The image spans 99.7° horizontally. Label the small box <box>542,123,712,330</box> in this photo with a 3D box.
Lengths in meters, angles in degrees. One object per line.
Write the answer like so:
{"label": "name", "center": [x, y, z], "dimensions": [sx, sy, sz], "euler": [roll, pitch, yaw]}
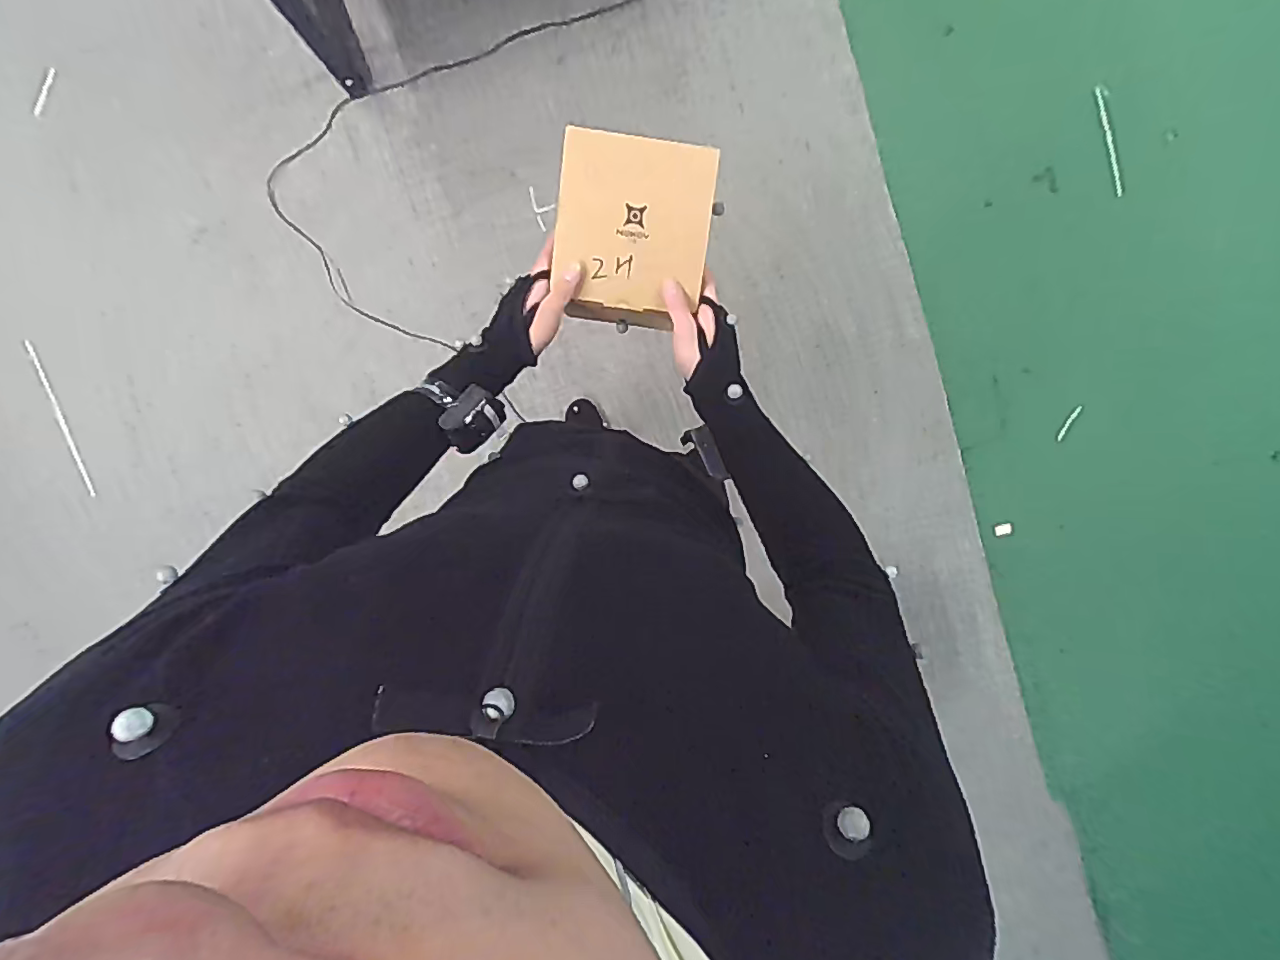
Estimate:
{"label": "small box", "center": [-0.018, -0.289, 0.655], "dimensions": [0.168, 0.176, 0.179], "euler": [7, 100, -2]}
